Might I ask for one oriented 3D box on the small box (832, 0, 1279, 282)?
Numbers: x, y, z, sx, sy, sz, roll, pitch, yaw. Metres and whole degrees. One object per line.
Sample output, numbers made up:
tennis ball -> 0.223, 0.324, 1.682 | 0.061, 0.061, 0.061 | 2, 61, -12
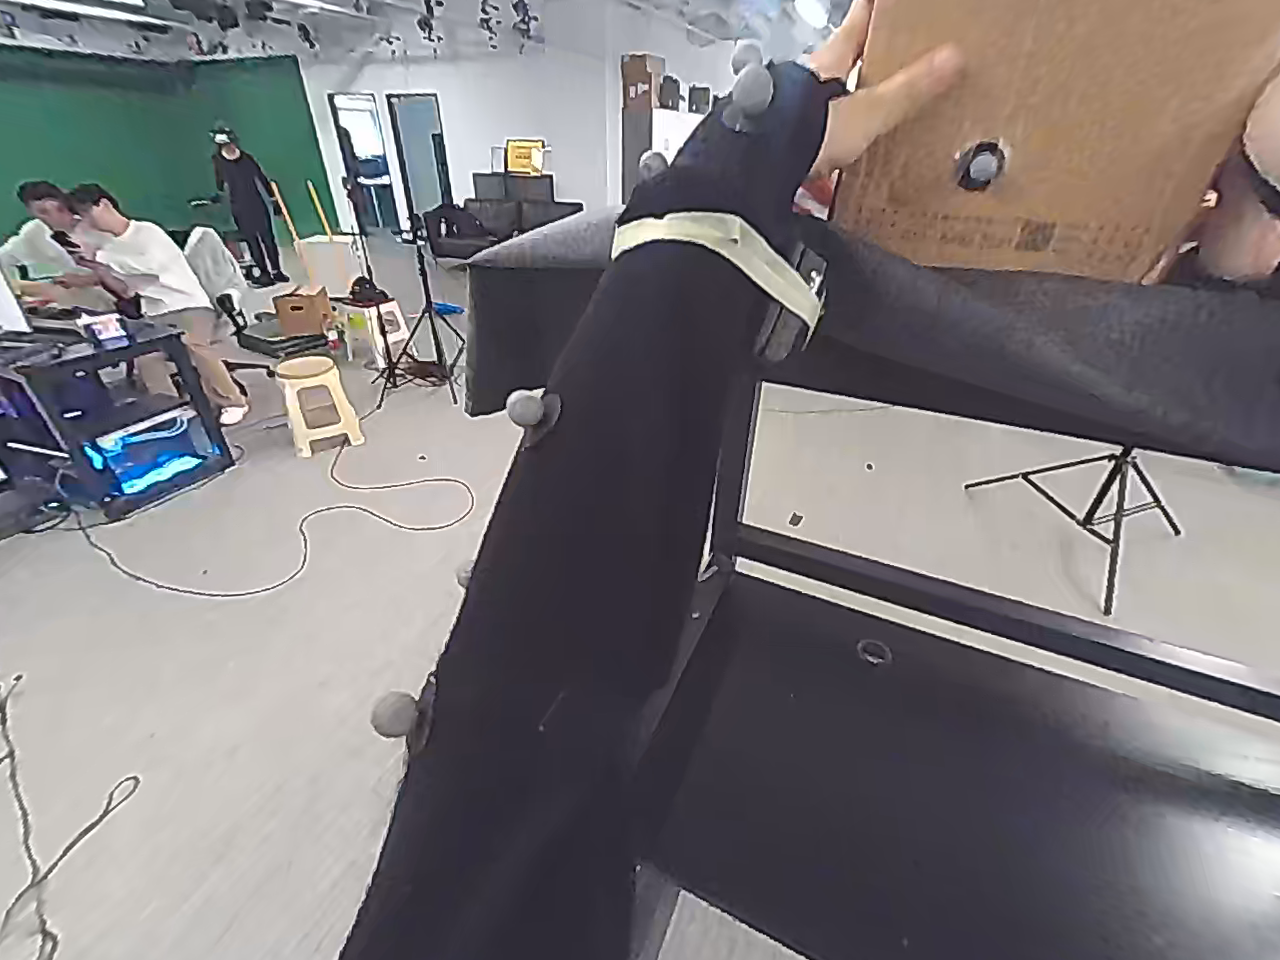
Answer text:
small box -> 0.219, -0.225, 0.321 | 0.168, 0.176, 0.179 | 13, 31, 17
